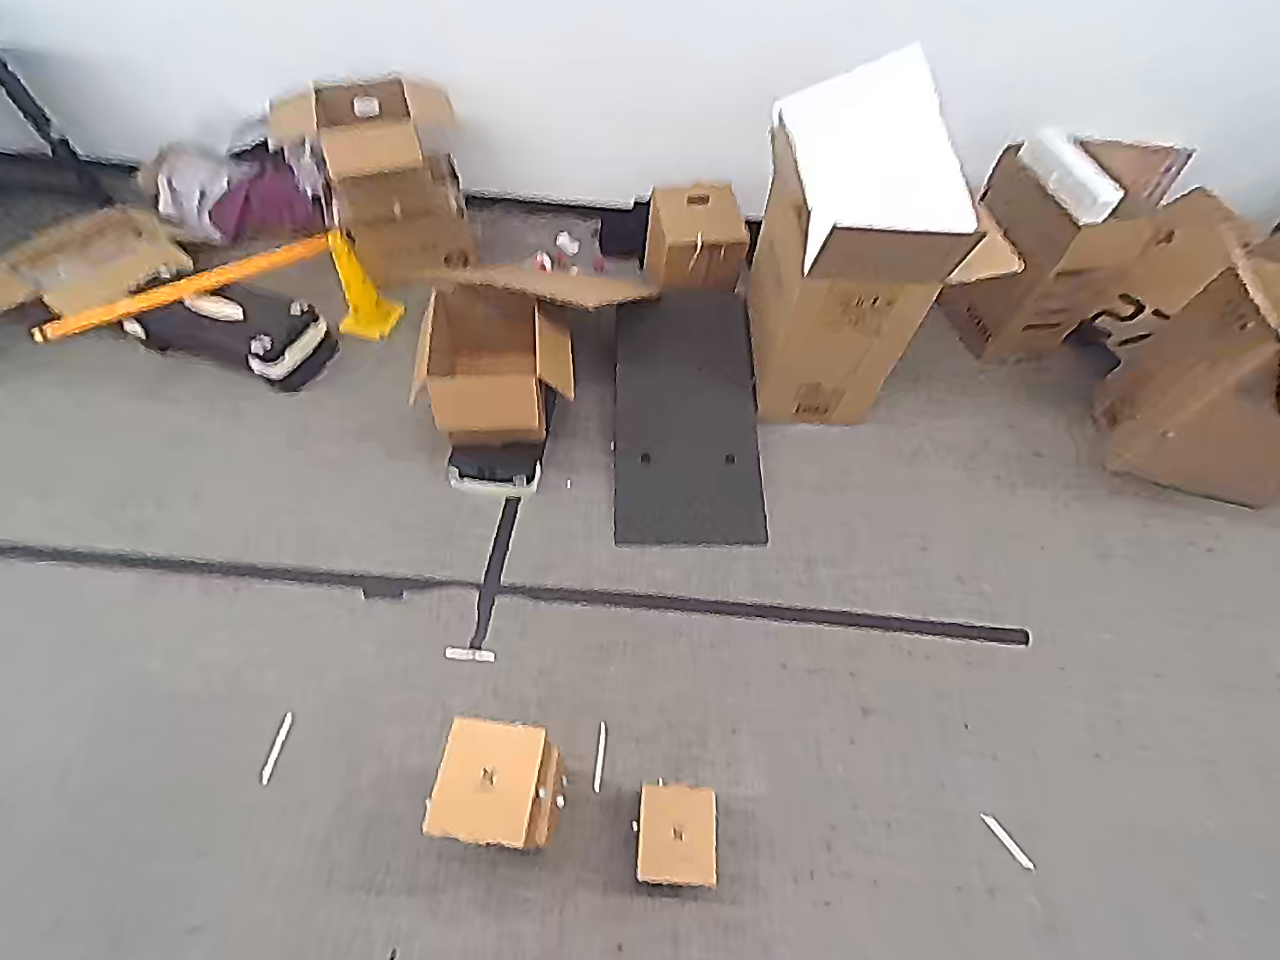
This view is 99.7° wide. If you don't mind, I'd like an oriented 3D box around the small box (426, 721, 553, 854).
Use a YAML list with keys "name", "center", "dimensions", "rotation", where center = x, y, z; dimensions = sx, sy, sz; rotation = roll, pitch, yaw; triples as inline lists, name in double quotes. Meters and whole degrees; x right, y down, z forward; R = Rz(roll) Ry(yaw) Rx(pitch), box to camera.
- name: "small box"
  center: [-0.254, 0.548, 0.963]
  dimensions: [0.168, 0.176, 0.179]
  rotation: [8, 57, 1]

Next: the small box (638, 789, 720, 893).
- name: "small box"
  center: [0.084, 0.803, 1.210]
  dimensions: [0.168, 0.176, 0.179]
  rotation: [4, 57, 1]

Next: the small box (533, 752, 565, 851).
- name: "small box"
  center: [-0.253, 0.645, 1.095]
  dimensions: [0.179, 0.176, 0.168]
  rotation: [6, 56, -1]
